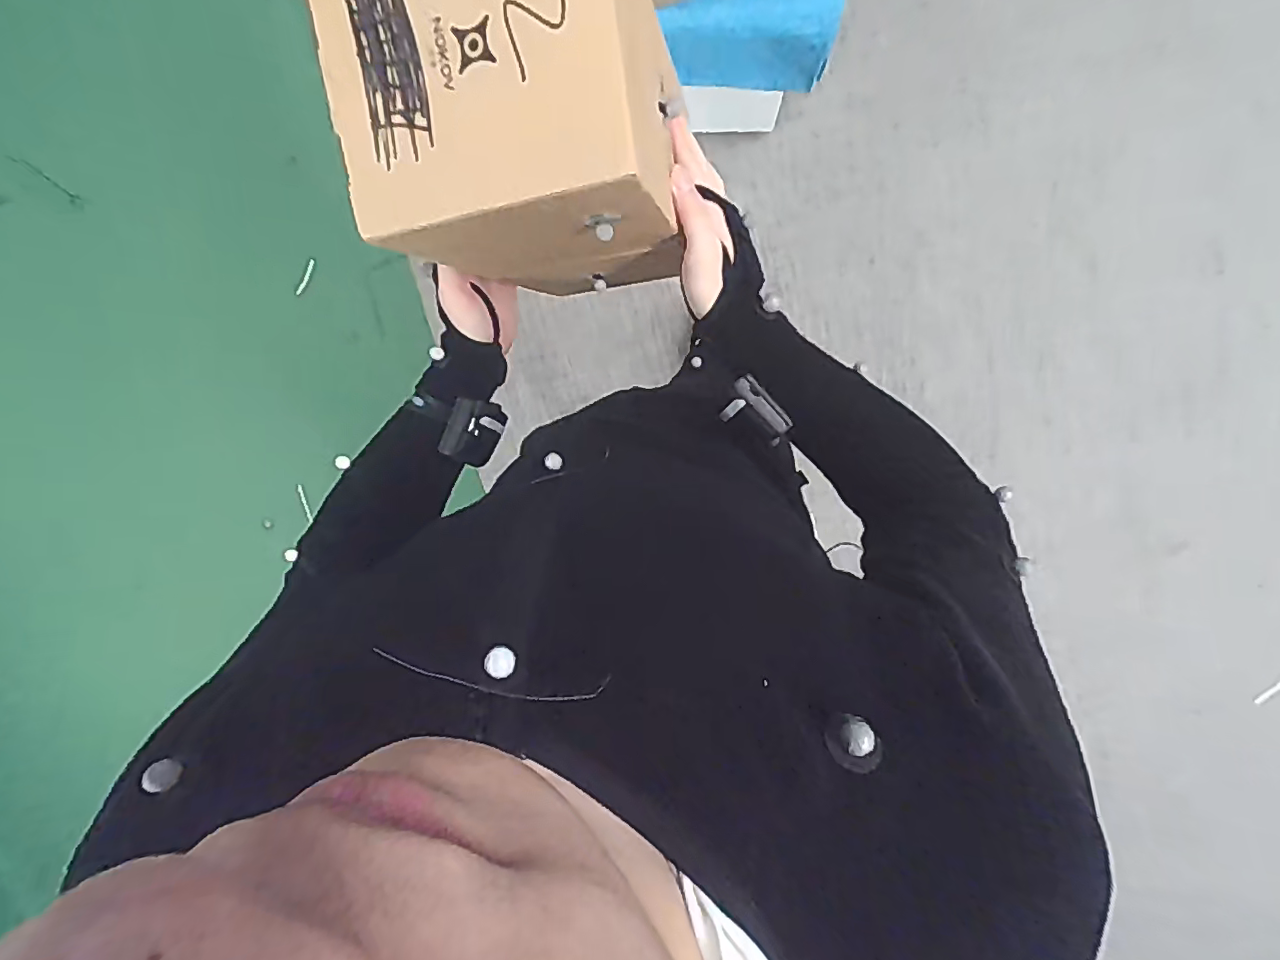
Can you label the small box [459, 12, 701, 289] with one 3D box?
[{"bbox_3d":[-0.039,-0.288,0.521,0.179,0.176,0.168,-5,102,15],"label":"small box"}]
